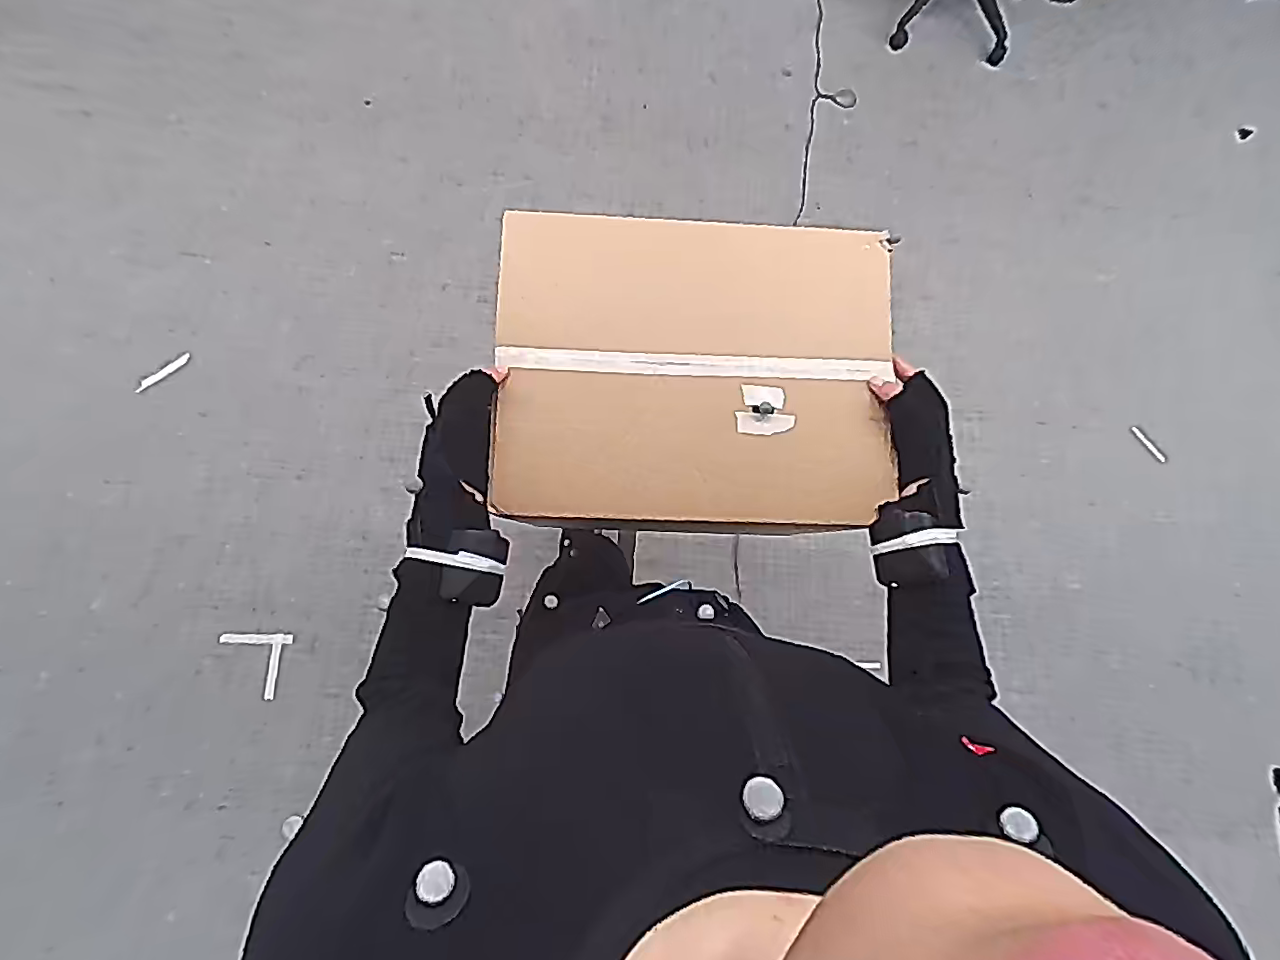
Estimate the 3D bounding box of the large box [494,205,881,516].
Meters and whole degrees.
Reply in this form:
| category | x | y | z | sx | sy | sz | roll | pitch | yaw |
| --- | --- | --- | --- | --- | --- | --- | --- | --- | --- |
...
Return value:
| category | x | y | z | sx | sy | sz | roll | pitch | yaw |
| --- | --- | --- | --- | --- | --- | --- | --- | --- | --- |
| large box | 0.043 | -0.116 | 0.709 | 0.408 | 0.320 | 0.320 | 2 | 84 | -4 |
